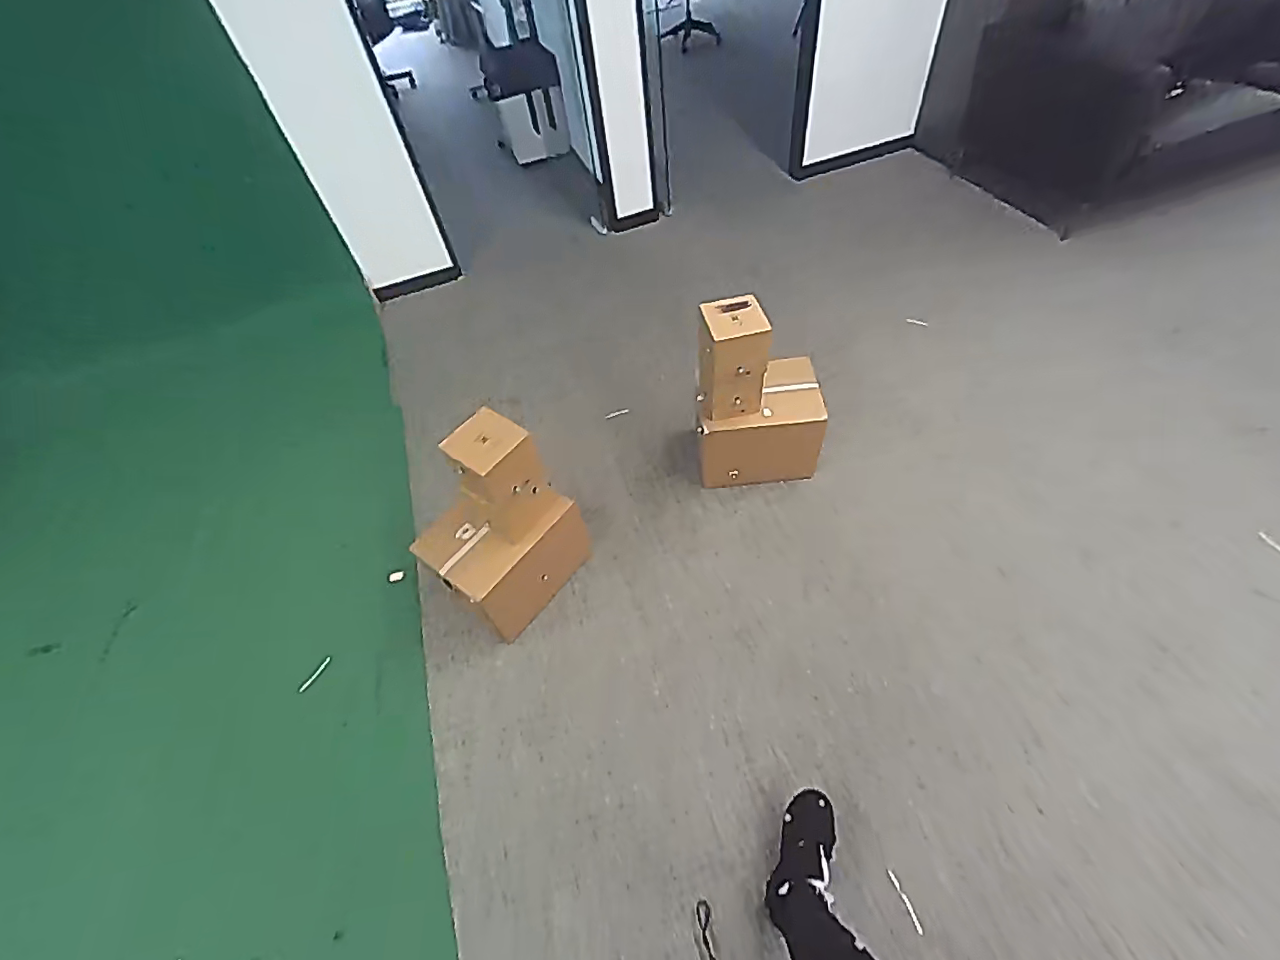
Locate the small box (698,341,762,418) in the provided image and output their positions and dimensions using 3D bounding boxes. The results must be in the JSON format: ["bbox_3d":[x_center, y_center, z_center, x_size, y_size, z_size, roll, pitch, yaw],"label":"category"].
[{"bbox_3d":[0.287,-0.316,1.745,0.168,0.176,0.179,-11,53,-2],"label":"small box"}]

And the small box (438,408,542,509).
[{"bbox_3d":[-0.386,-0.051,1.416,0.179,0.176,0.168,30,62,26],"label":"small box"}]

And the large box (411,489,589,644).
[{"bbox_3d":[-0.420,0.233,1.720,0.320,0.320,0.408,27,61,27],"label":"large box"}]

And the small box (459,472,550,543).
[{"bbox_3d":[-0.377,0.046,1.546,0.168,0.176,0.179,28,60,26],"label":"small box"}]
